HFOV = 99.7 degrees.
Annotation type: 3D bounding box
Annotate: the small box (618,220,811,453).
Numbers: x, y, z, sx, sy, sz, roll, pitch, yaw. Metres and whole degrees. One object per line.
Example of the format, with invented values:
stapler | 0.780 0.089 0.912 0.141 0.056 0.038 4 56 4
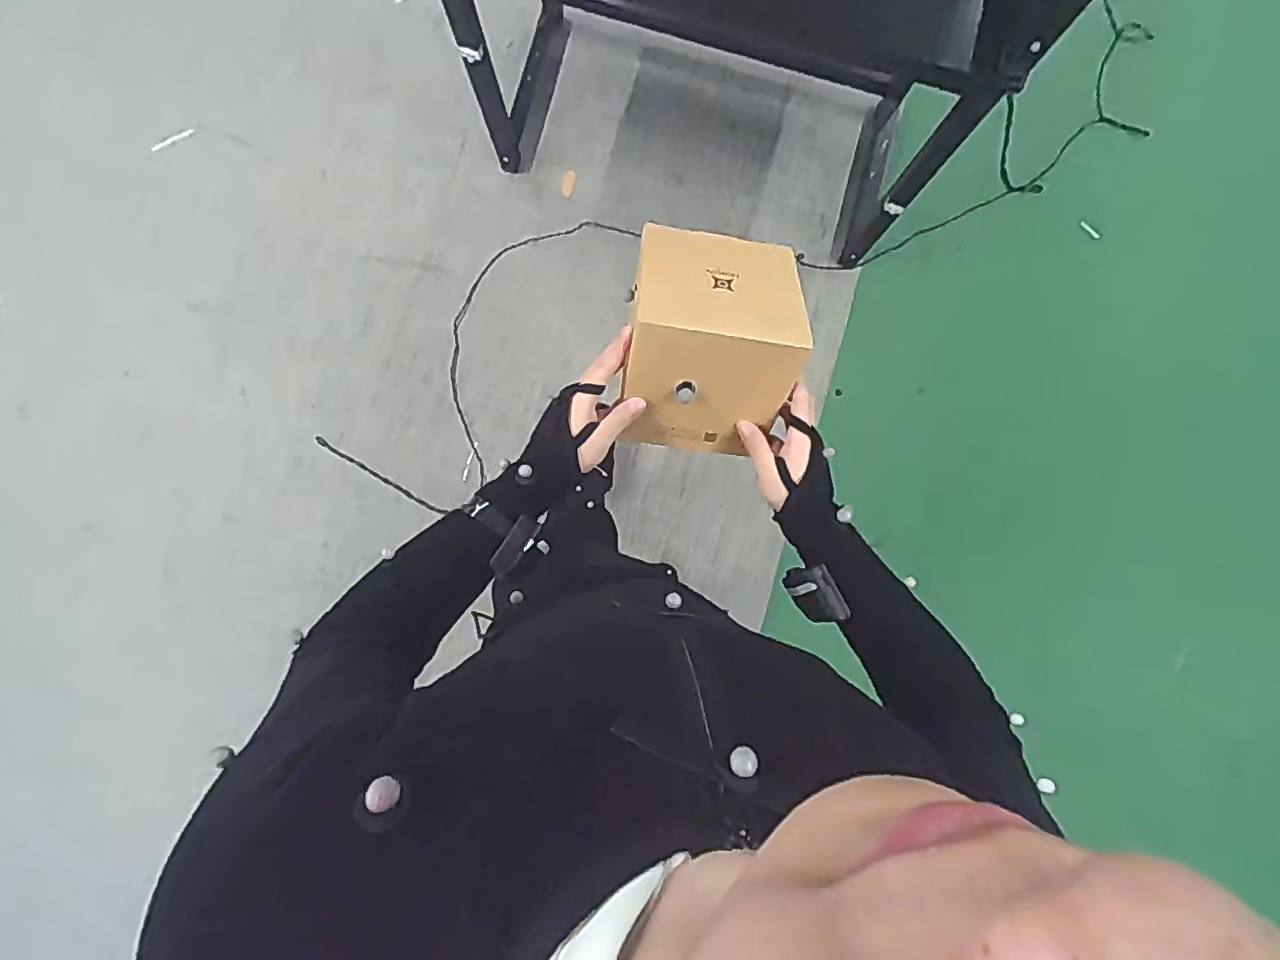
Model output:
small box | 0.068 -0.150 0.593 0.168 0.176 0.179 7 52 -5
